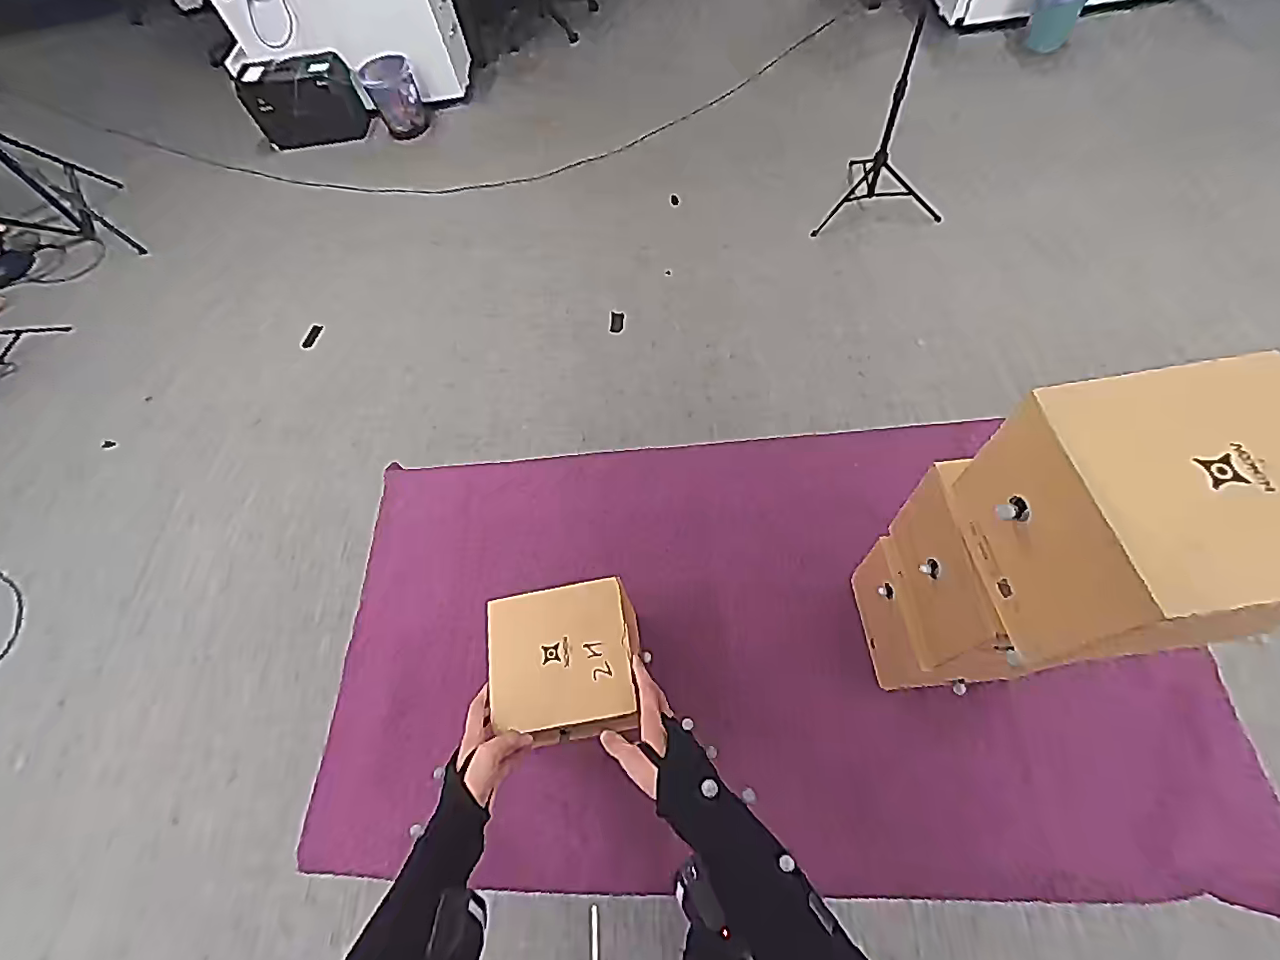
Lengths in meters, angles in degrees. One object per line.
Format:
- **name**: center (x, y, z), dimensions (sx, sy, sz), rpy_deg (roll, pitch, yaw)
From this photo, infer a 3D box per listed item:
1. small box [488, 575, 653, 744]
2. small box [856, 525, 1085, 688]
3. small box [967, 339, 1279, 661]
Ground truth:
- **small box**: center (-0.087, 0.244, 0.715), dimensions (0.179, 0.176, 0.168), rpy_deg (-11, 61, 1)
- **small box**: center (0.403, 0.166, 0.695), dimensions (0.179, 0.176, 0.168), rpy_deg (-7, 61, 3)
- **small box**: center (0.377, 0.027, 0.399), dimensions (0.179, 0.176, 0.168), rpy_deg (-9, 61, 2)
